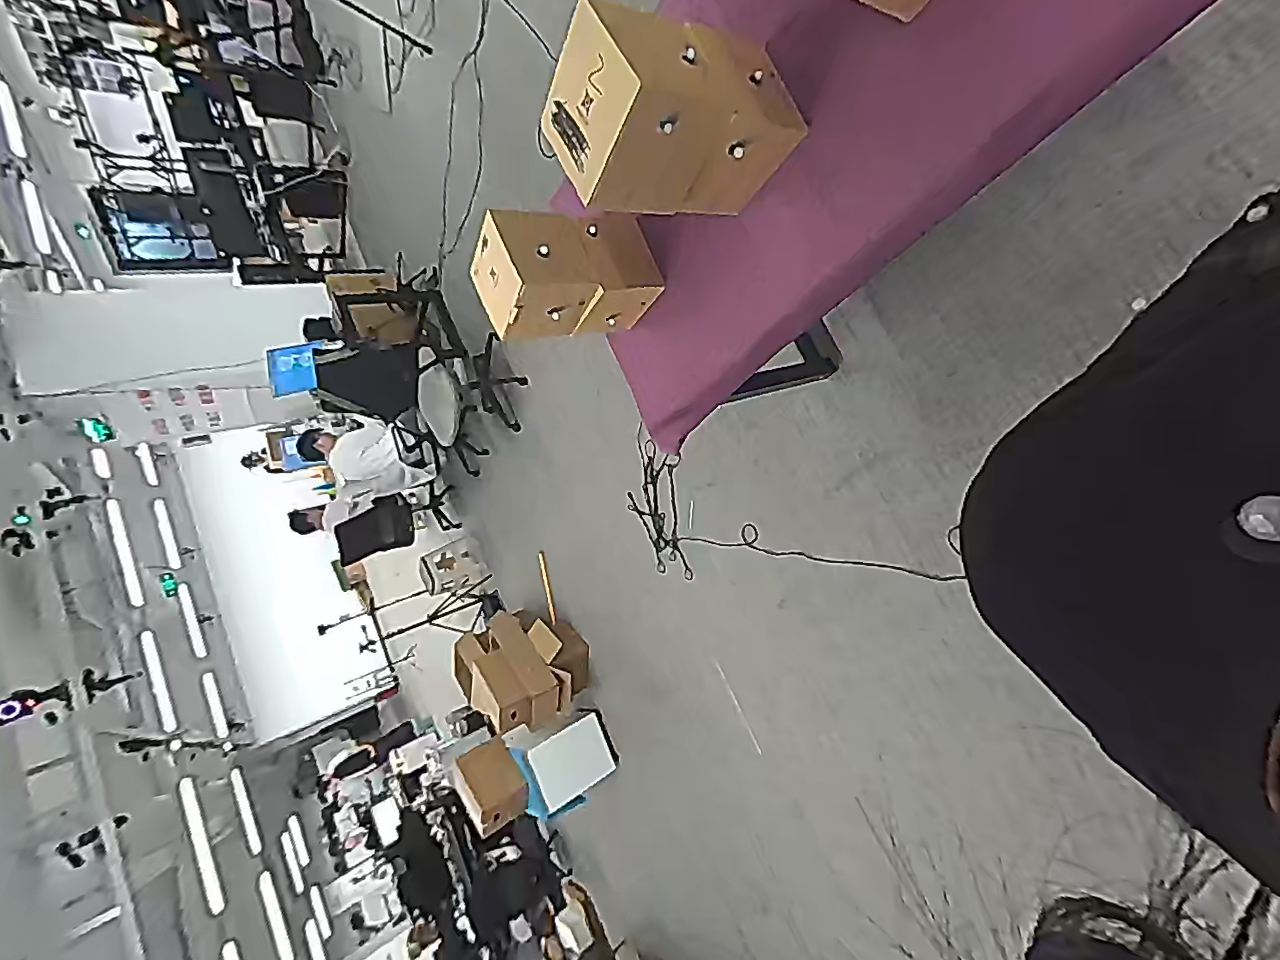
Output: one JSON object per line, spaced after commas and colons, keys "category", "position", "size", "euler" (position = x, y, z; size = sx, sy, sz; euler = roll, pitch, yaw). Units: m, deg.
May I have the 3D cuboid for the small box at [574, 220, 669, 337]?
{"category": "small box", "position": [-0.065, -0.436, 1.167], "size": [0.168, 0.176, 0.179], "euler": [-35, 75, 54]}

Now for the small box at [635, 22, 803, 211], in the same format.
{"category": "small box", "position": [0.127, -0.551, 0.846], "size": [0.179, 0.176, 0.168], "euler": [-36, 74, 54]}

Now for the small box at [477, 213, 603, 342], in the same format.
{"category": "small box", "position": [-0.198, -0.403, 1.075], "size": [0.168, 0.176, 0.179], "euler": [-43, 70, 52]}
